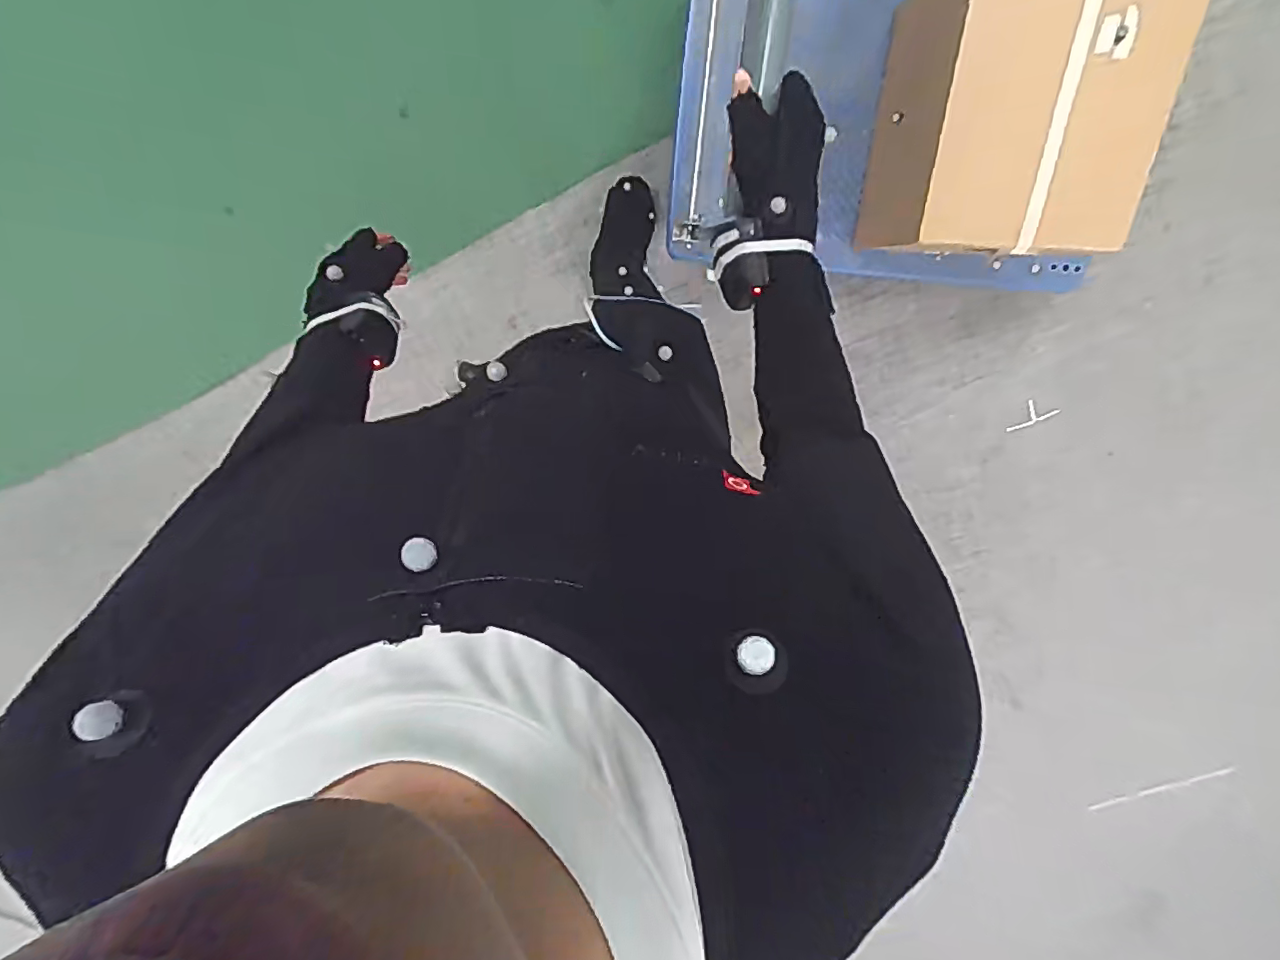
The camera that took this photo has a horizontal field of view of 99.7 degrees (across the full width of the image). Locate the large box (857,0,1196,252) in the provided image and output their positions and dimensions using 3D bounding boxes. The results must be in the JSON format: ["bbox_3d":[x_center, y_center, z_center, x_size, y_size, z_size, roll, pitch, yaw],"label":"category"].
[{"bbox_3d":[0.594,-0.608,0.904,0.320,0.320,0.408,4,111,0],"label":"large box"}]
